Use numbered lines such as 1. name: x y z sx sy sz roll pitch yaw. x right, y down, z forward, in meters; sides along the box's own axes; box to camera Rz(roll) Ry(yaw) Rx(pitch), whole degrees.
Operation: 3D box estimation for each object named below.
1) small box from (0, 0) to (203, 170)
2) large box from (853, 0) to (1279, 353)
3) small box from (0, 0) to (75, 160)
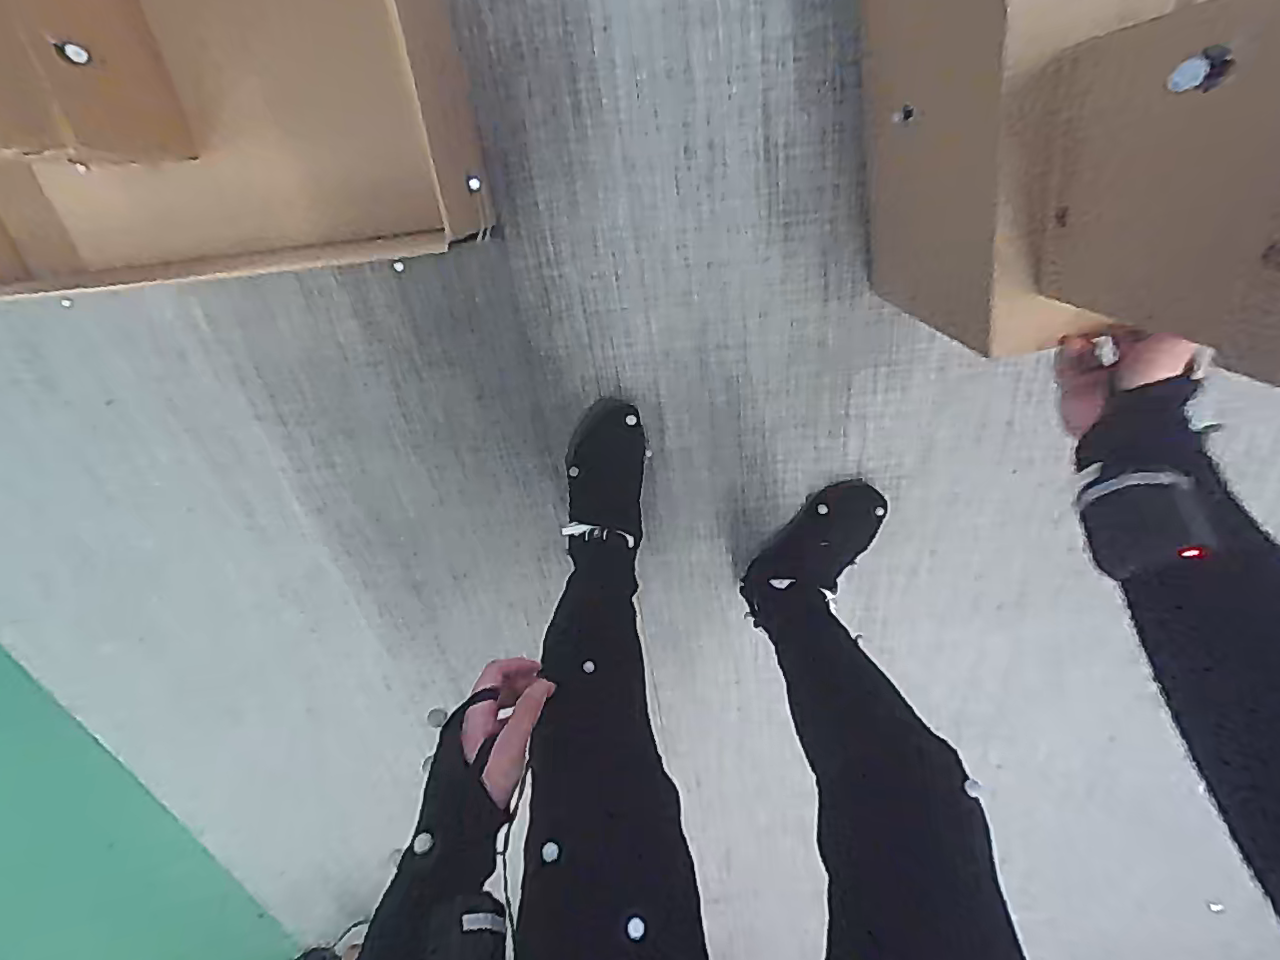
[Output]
1. small box: -0.600 -0.413 0.536 0.168 0.176 0.179 -3 120 0
2. large box: 0.402 -0.378 0.496 0.320 0.320 0.408 -11 117 8
3. small box: -0.598 -0.338 0.391 0.168 0.176 0.179 1 120 -1
